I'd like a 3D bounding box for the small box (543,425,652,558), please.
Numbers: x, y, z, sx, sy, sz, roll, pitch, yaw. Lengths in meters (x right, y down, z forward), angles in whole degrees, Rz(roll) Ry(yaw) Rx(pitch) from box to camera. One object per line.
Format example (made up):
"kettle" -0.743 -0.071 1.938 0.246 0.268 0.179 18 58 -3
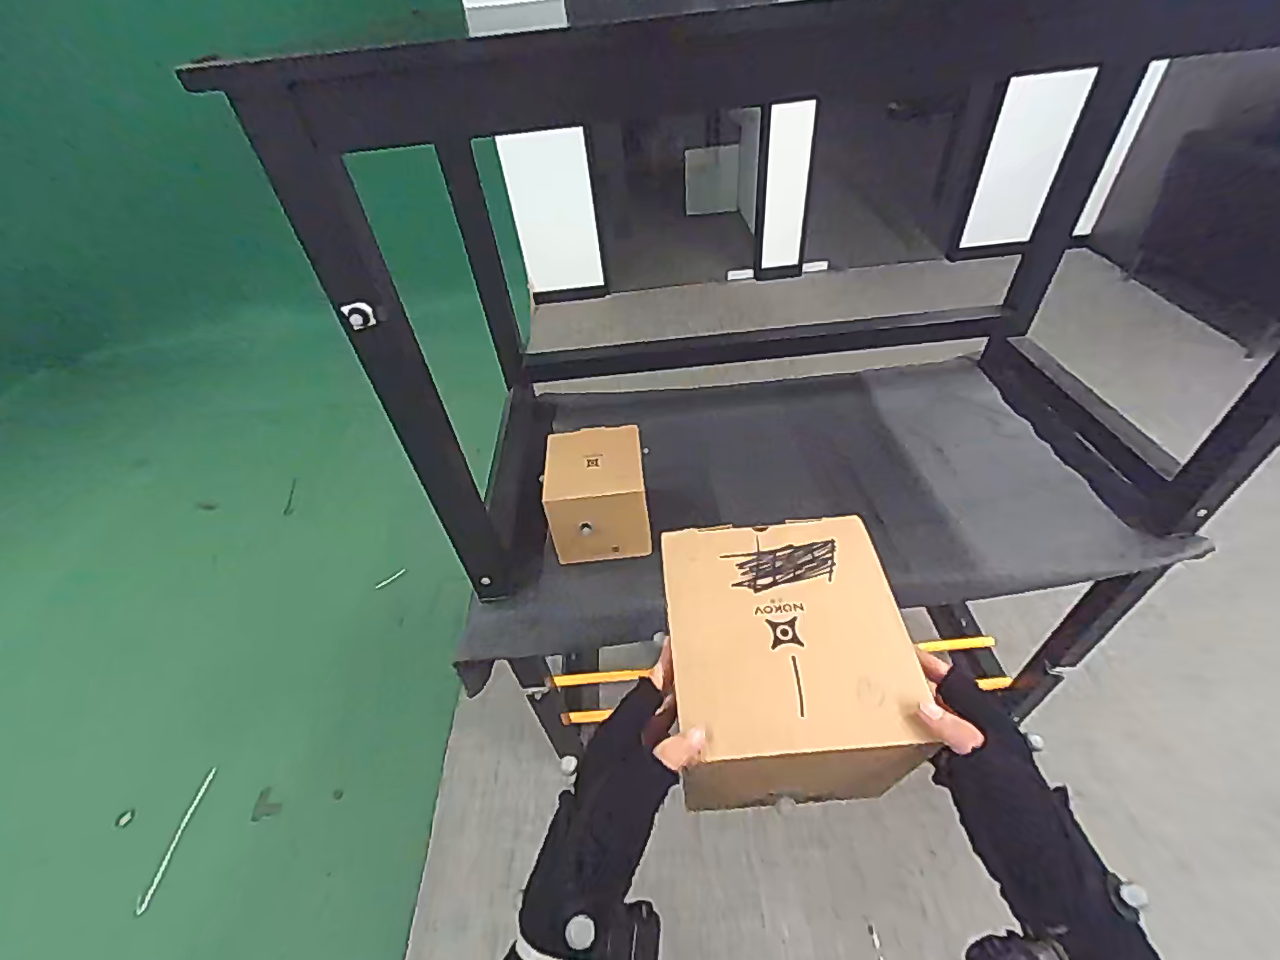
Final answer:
"small box" -0.070 0.026 0.968 0.168 0.176 0.179 -6 42 0
